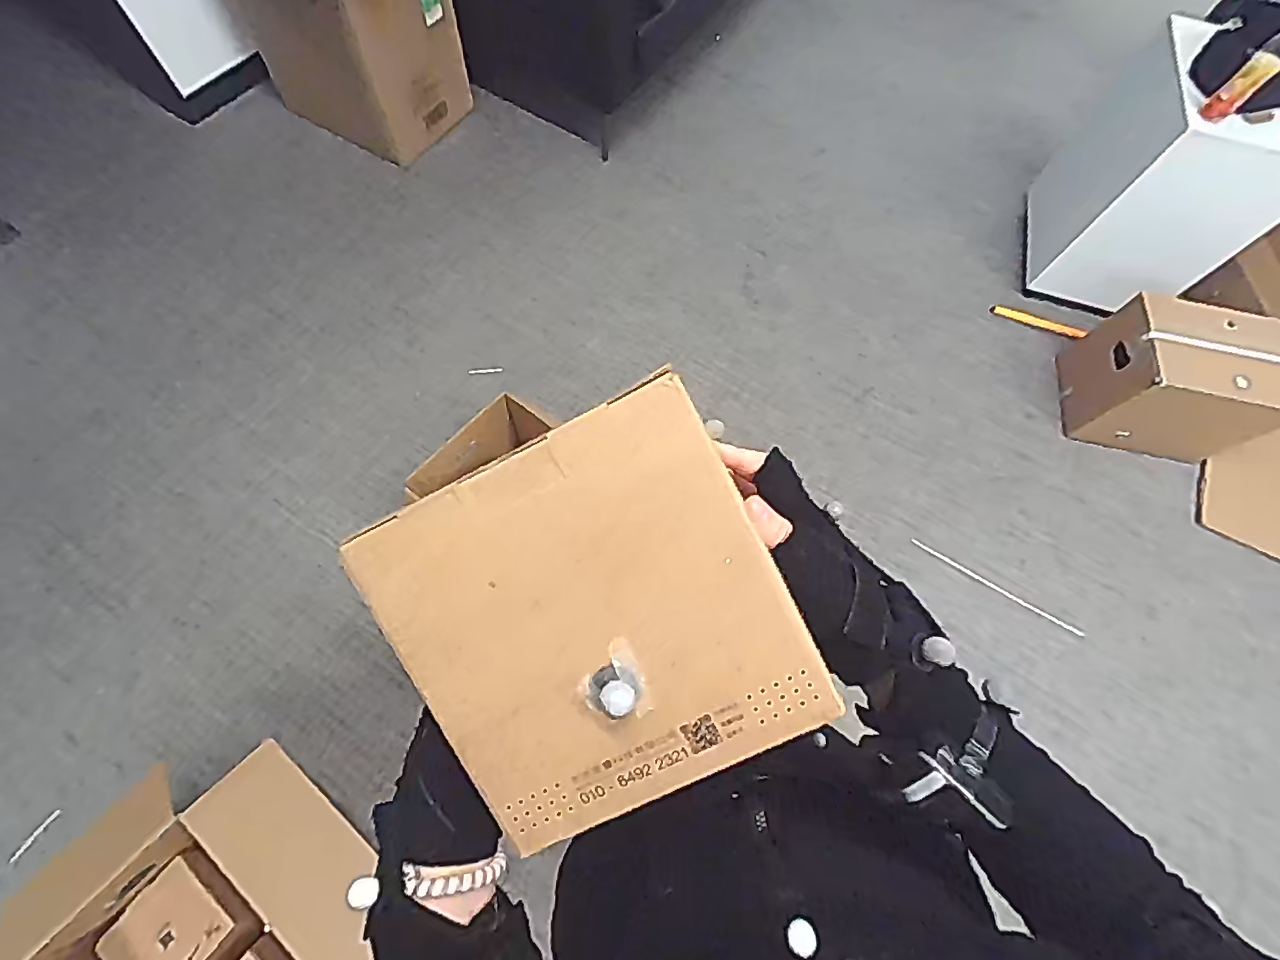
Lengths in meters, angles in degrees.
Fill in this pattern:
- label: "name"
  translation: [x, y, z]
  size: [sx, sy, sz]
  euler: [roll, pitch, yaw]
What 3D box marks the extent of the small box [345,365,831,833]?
- label: "small box"
  translation: [-0.017, 0.051, 0.316]
  size: [0.168, 0.179, 0.176]
  euler: [-27, 97, 6]
